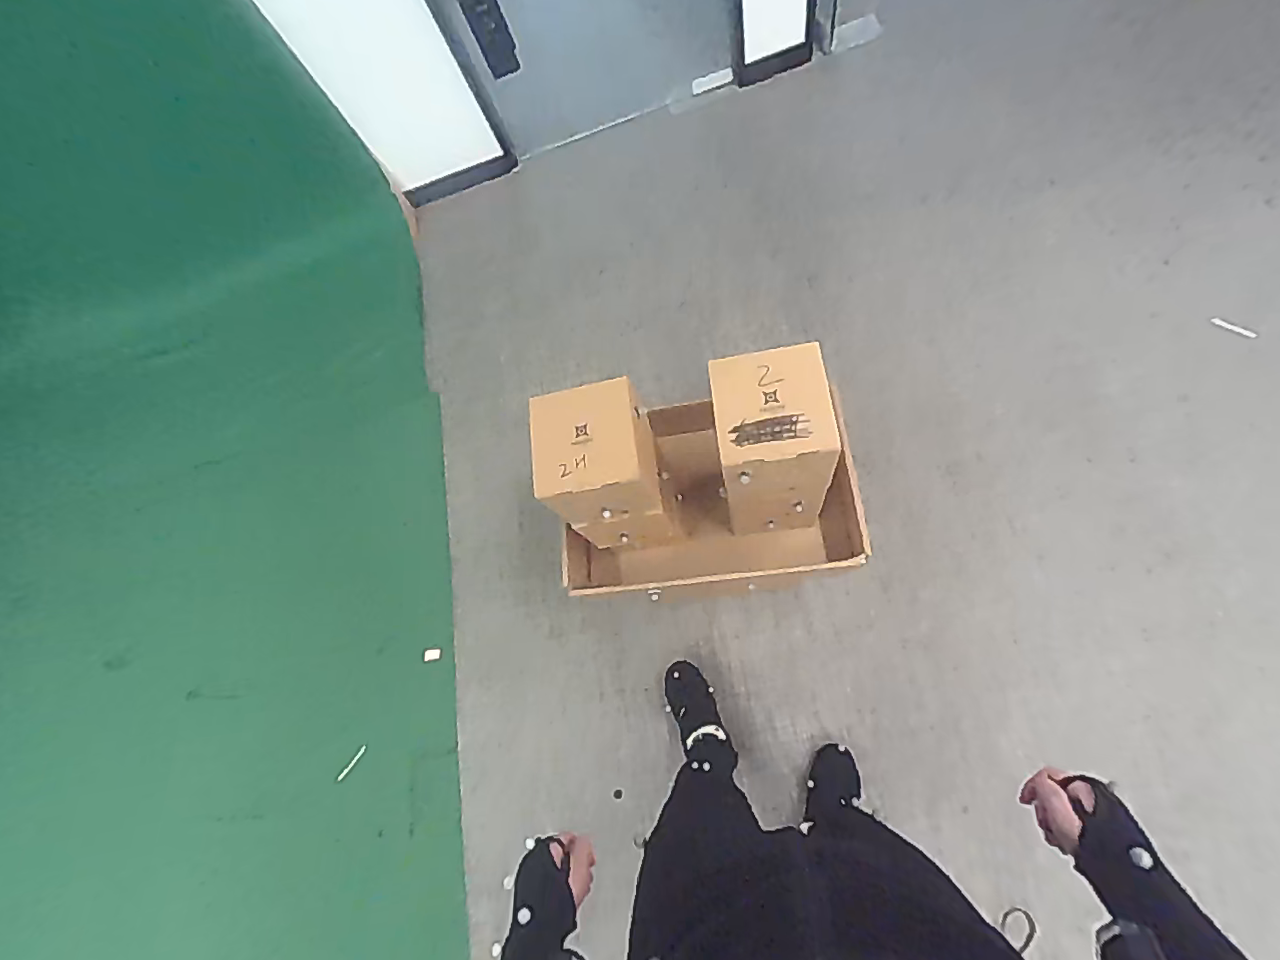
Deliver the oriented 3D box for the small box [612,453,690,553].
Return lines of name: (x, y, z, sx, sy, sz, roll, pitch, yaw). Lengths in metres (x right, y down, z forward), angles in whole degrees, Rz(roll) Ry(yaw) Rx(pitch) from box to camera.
small box: (0.006, 0.059, 1.195, 0.179, 0.176, 0.168, -10, 69, 9)

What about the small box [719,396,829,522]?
small box: (0.242, -0.028, 0.989, 0.168, 0.176, 0.179, -8, 68, 10)

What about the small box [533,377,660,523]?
small box: (-0.068, -0.042, 0.892, 0.168, 0.176, 0.179, -10, 69, 10)

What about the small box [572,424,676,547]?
small box: (-0.031, 0.017, 1.041, 0.168, 0.176, 0.179, -11, 69, 10)
